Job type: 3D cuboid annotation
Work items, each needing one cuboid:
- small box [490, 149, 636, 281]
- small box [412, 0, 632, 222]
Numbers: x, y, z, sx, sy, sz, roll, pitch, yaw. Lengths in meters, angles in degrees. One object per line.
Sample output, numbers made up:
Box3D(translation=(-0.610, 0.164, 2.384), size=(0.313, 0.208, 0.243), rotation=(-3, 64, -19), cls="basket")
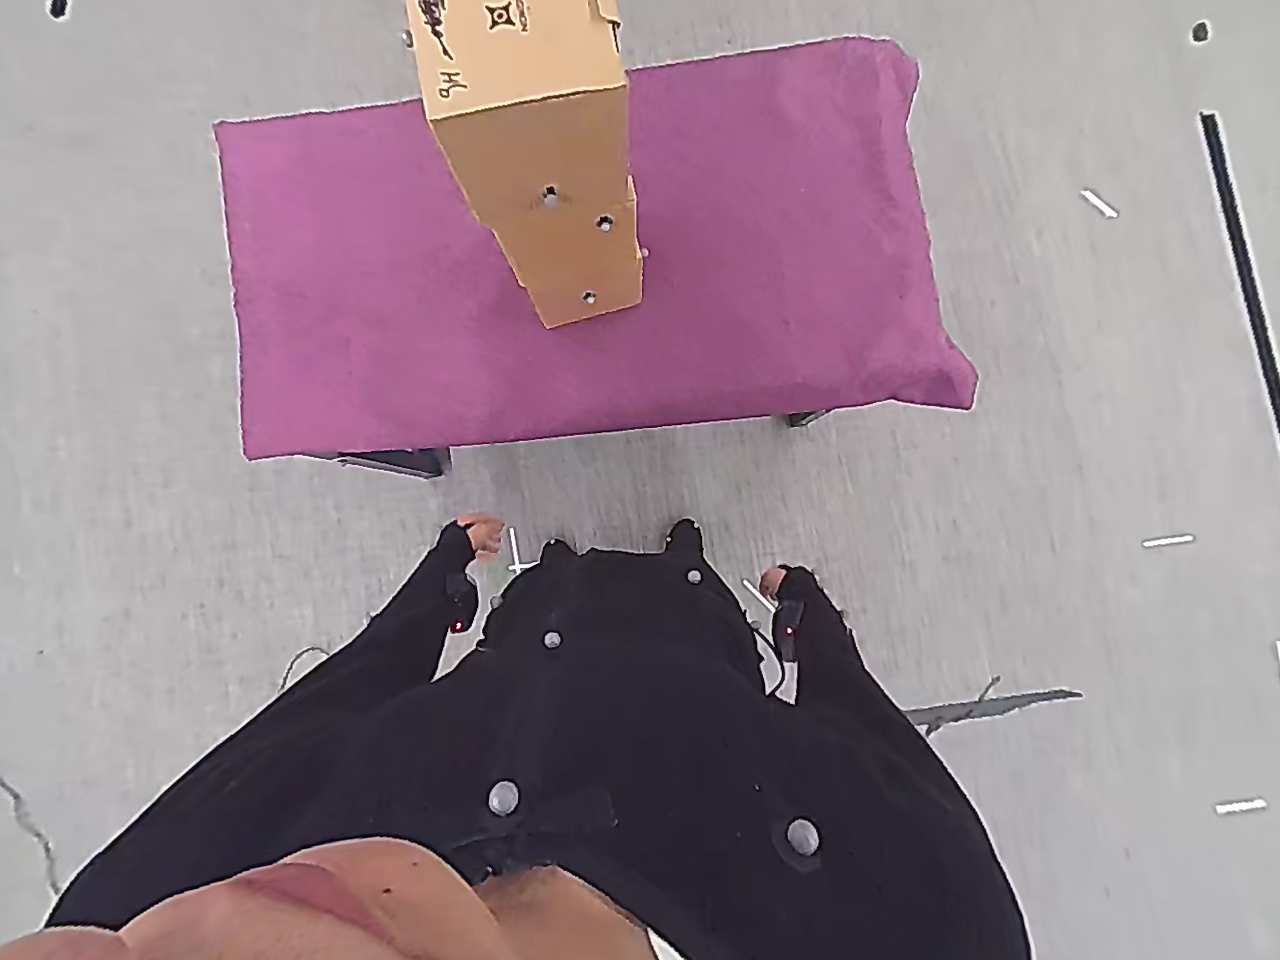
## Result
Box3D(translation=(-0.104, -0.383, 0.712), size=(0.179, 0.176, 0.168), rotation=(-11, 86, -2), cls="small box")
Box3D(translation=(-0.110, -0.392, 0.548), size=(0.179, 0.176, 0.168), rotation=(-11, 85, -3), cls="small box")
